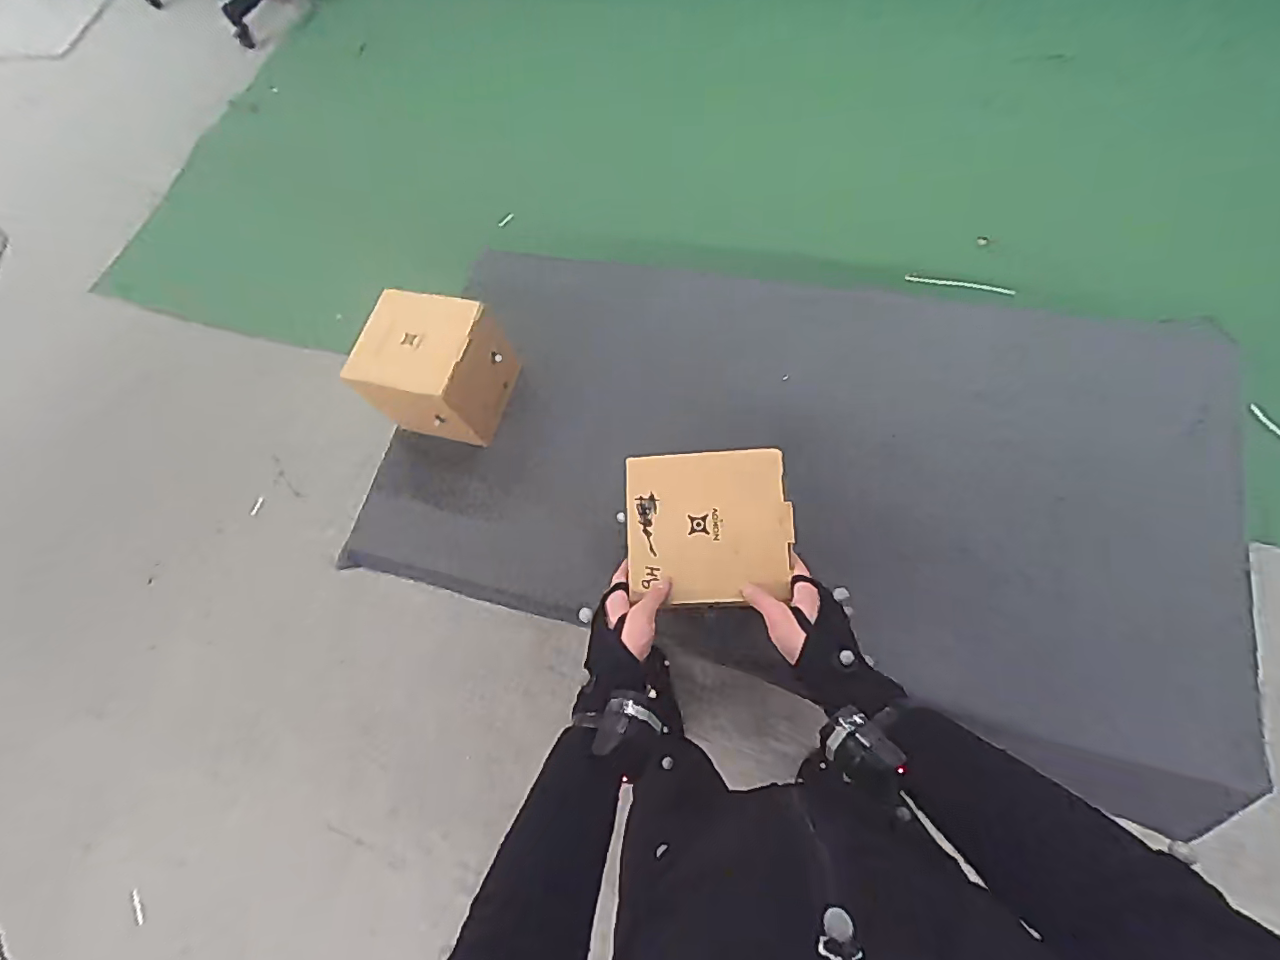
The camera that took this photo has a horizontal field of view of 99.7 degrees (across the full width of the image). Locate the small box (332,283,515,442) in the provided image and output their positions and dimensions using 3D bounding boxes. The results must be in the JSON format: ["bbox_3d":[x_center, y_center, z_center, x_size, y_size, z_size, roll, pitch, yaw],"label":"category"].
[{"bbox_3d":[-0.317,-0.174,0.837,0.179,0.176,0.168,11,68,12],"label":"small box"}]

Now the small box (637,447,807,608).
[{"bbox_3d":[0.087,0.065,0.648,0.179,0.176,0.168,-1,74,3],"label":"small box"}]
